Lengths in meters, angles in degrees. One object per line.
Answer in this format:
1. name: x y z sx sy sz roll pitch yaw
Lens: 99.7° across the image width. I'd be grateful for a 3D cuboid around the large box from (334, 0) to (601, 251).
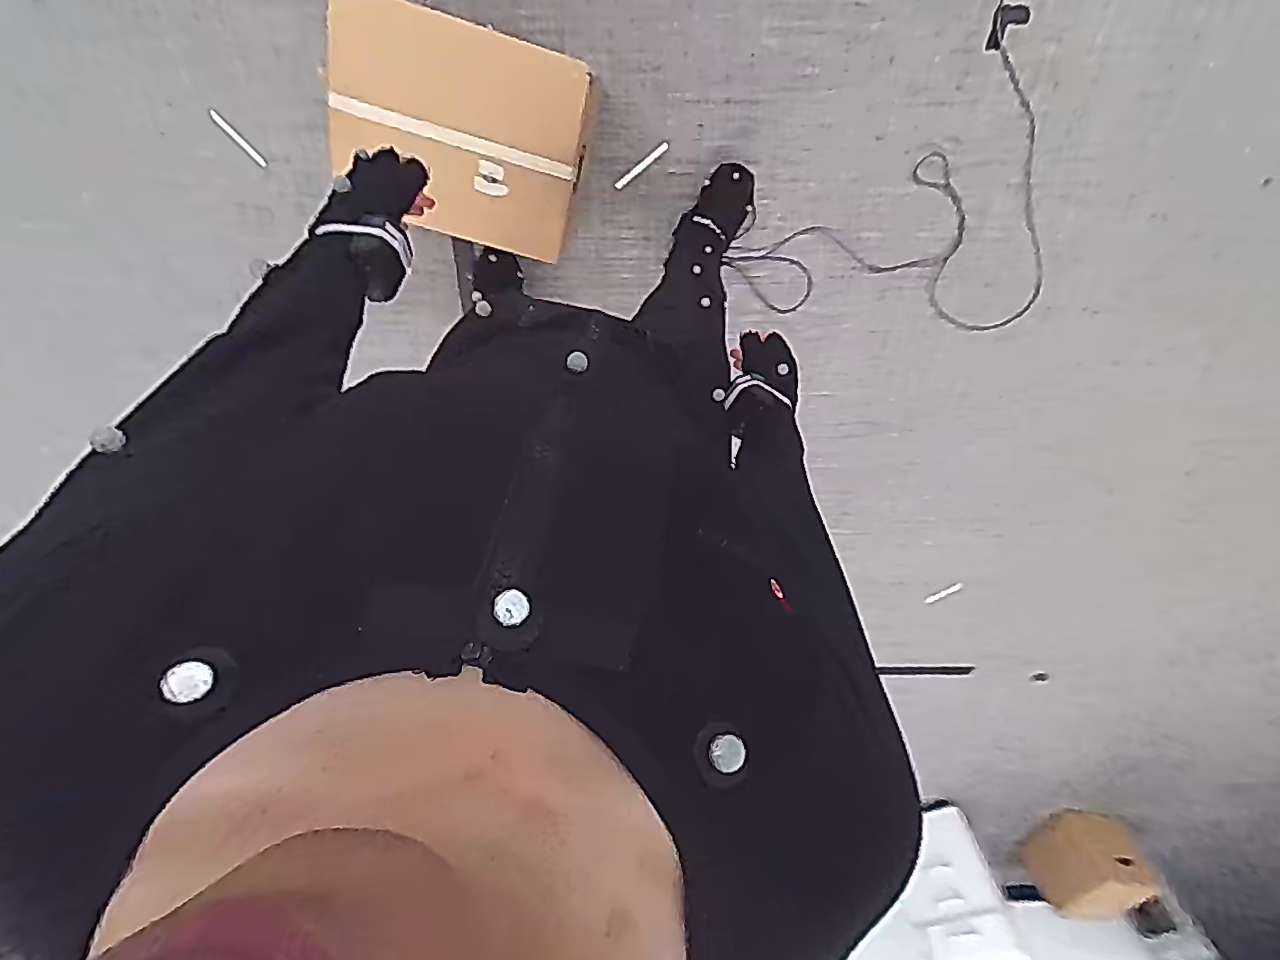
1. large box: -0.306 -0.671 1.030 0.408 0.320 0.320 13 122 -9
